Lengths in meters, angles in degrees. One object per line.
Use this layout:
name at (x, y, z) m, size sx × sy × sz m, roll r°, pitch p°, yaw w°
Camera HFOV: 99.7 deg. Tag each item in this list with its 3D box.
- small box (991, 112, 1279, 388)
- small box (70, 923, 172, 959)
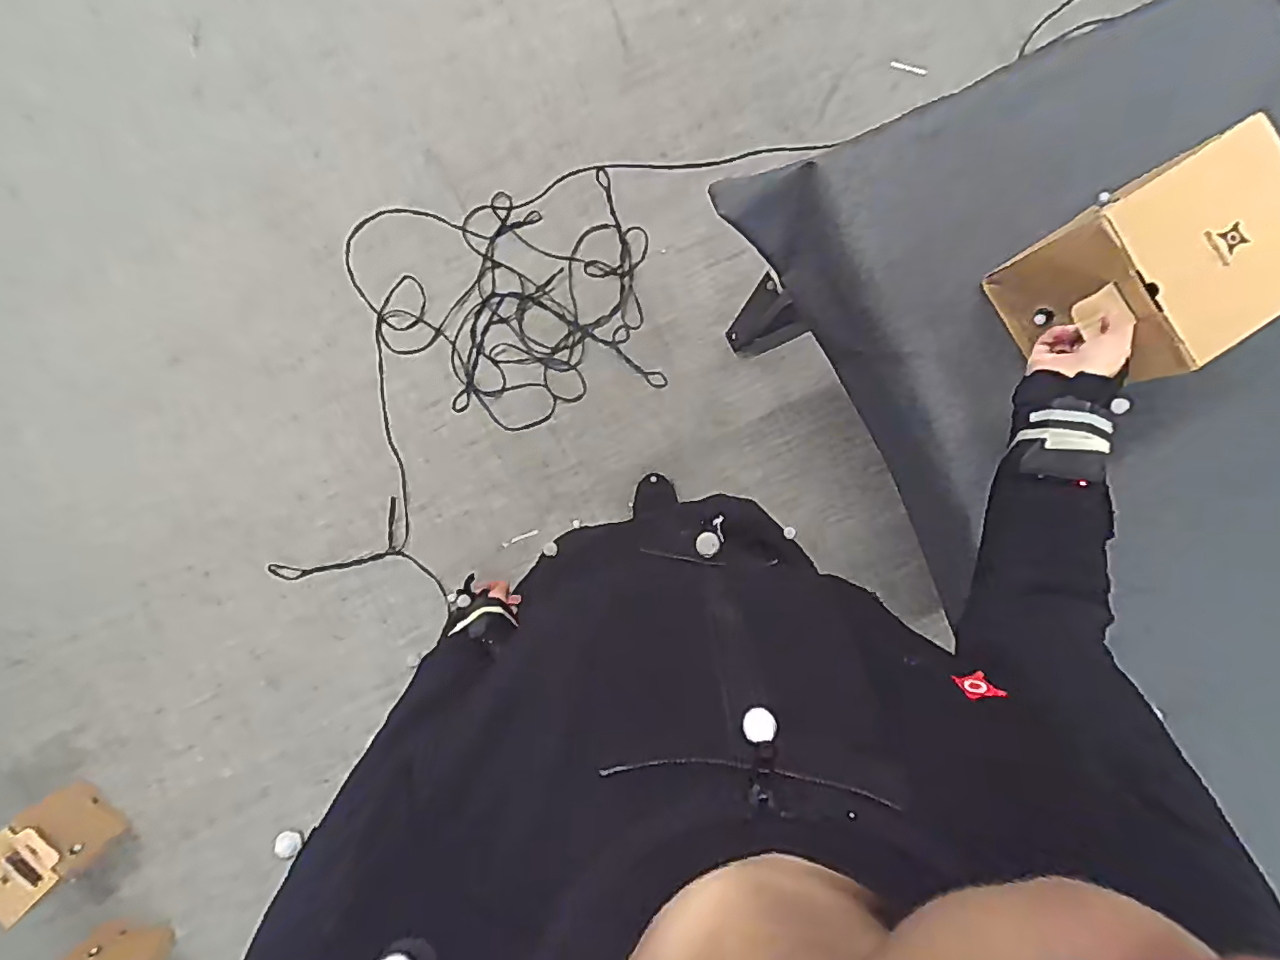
small box at (0.521, -0.215, 0.558) m, size 0.179 × 0.176 × 0.168 m, roll -33°, pitch 92°, yaw -1°
small box at (-1.248, 1.191, 1.259) m, size 0.168 × 0.176 × 0.179 m, roll 11°, pitch 91°, yaw 0°
